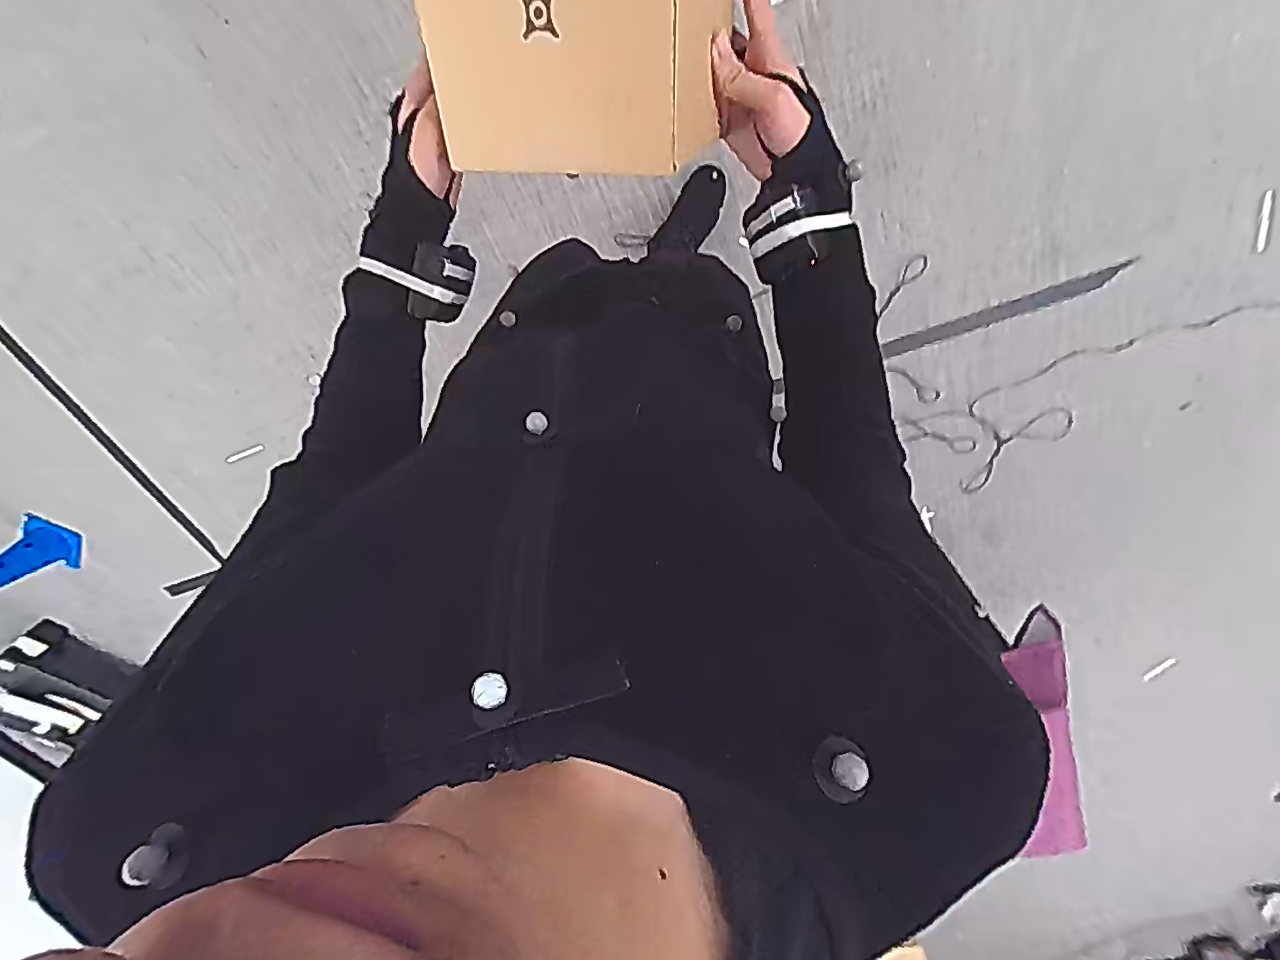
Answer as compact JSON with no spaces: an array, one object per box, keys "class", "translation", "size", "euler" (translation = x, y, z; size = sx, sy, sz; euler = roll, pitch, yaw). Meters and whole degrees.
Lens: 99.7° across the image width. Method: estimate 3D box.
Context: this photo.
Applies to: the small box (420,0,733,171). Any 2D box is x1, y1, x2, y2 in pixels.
[{"class":"small box","translation":[-0.031,-0.325,0.370],"size":[0.168,0.176,0.179],"euler":[10,129,16]}]
